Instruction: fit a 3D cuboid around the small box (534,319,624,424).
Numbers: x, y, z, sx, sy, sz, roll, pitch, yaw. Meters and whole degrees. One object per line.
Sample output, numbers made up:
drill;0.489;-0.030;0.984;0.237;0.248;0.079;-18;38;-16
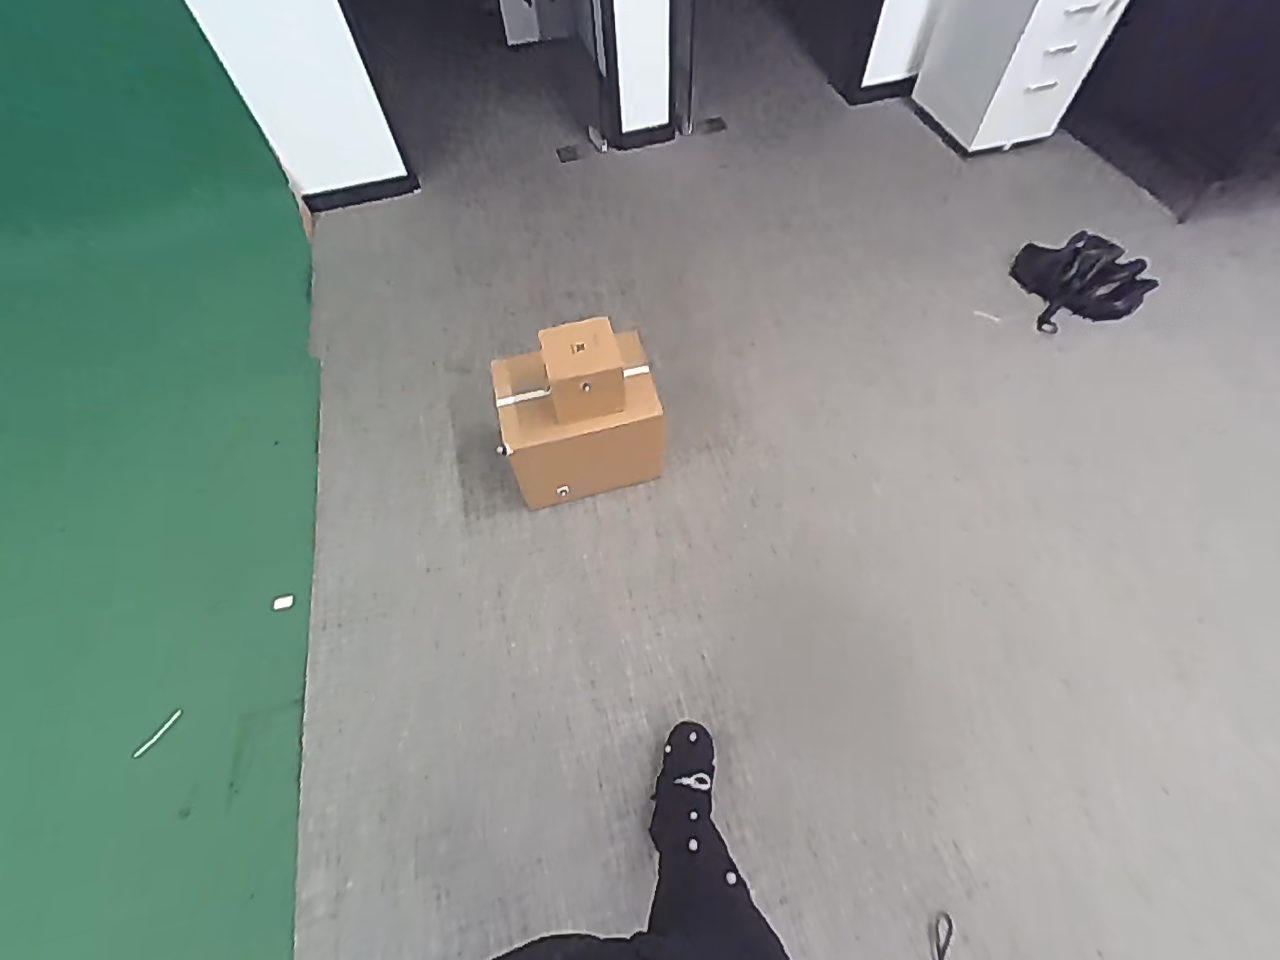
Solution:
small box;-0.144;-0.260;1.319;0.179;0.176;0.168;-15;61;-7
